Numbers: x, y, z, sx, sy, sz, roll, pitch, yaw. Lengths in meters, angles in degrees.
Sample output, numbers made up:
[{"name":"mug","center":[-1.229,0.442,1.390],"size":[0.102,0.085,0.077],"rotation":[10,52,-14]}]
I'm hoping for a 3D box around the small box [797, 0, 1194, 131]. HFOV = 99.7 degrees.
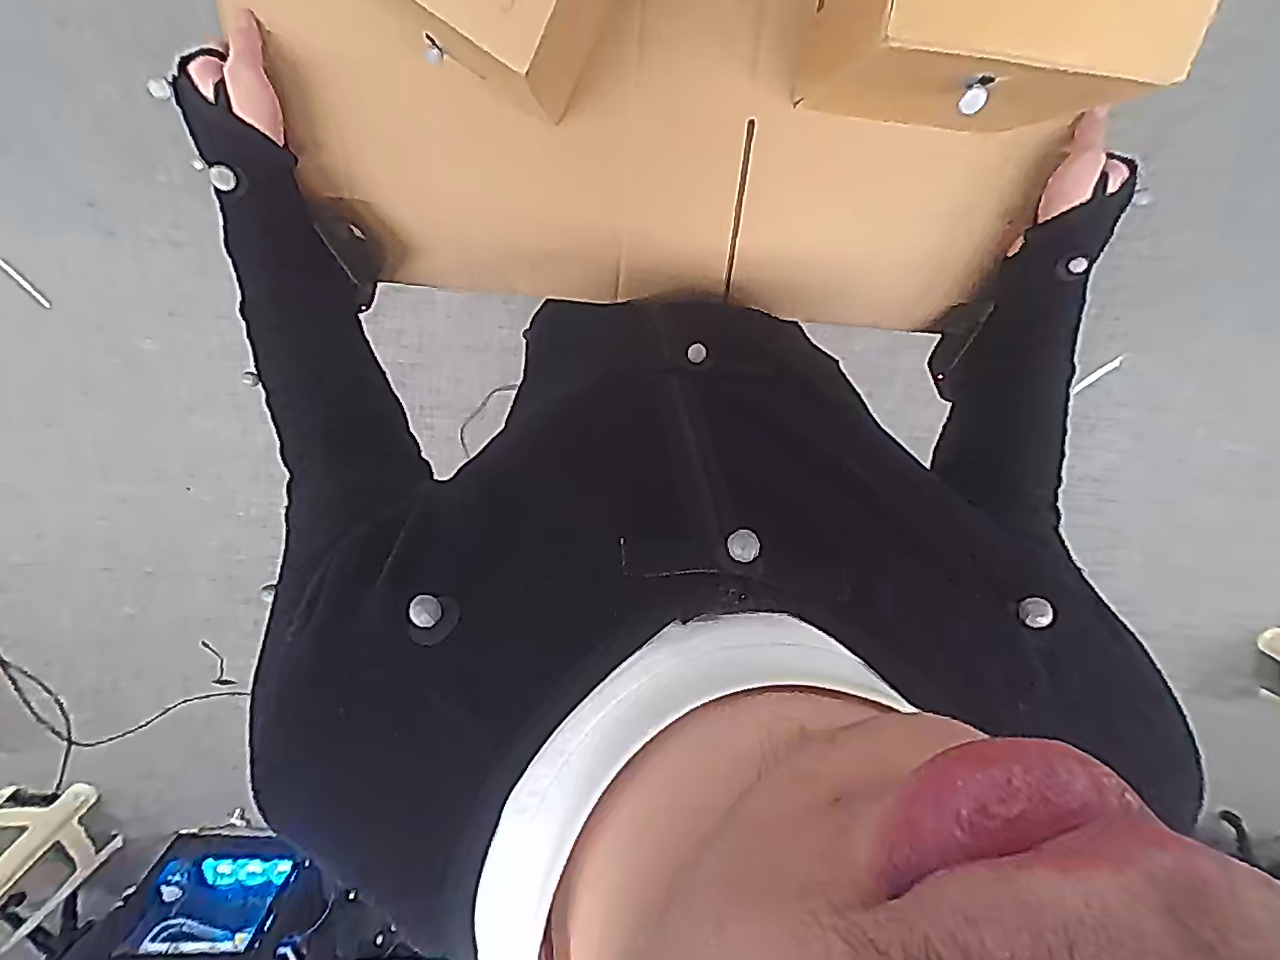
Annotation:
[{"name":"small box","center":[0.226,-0.343,0.352],"size":[0.179,0.176,0.168],"rotation":[5,114,-4]}]
